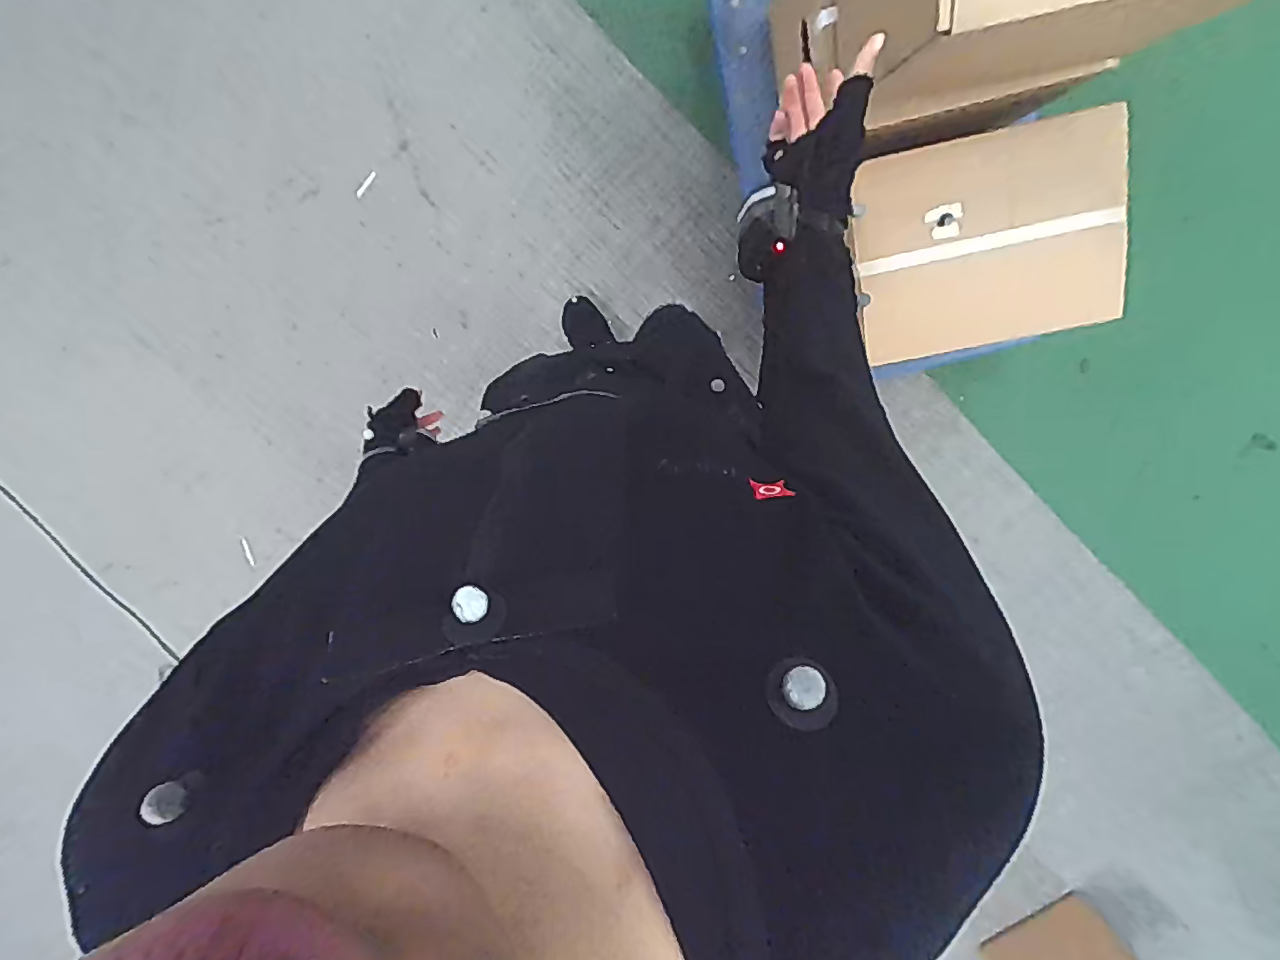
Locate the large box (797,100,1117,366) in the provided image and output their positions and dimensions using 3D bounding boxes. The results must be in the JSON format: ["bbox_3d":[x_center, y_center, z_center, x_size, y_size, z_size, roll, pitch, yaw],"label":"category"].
[{"bbox_3d":[0.533,-0.415,0.983,0.408,0.320,0.320,-10,105,7],"label":"large box"}]
